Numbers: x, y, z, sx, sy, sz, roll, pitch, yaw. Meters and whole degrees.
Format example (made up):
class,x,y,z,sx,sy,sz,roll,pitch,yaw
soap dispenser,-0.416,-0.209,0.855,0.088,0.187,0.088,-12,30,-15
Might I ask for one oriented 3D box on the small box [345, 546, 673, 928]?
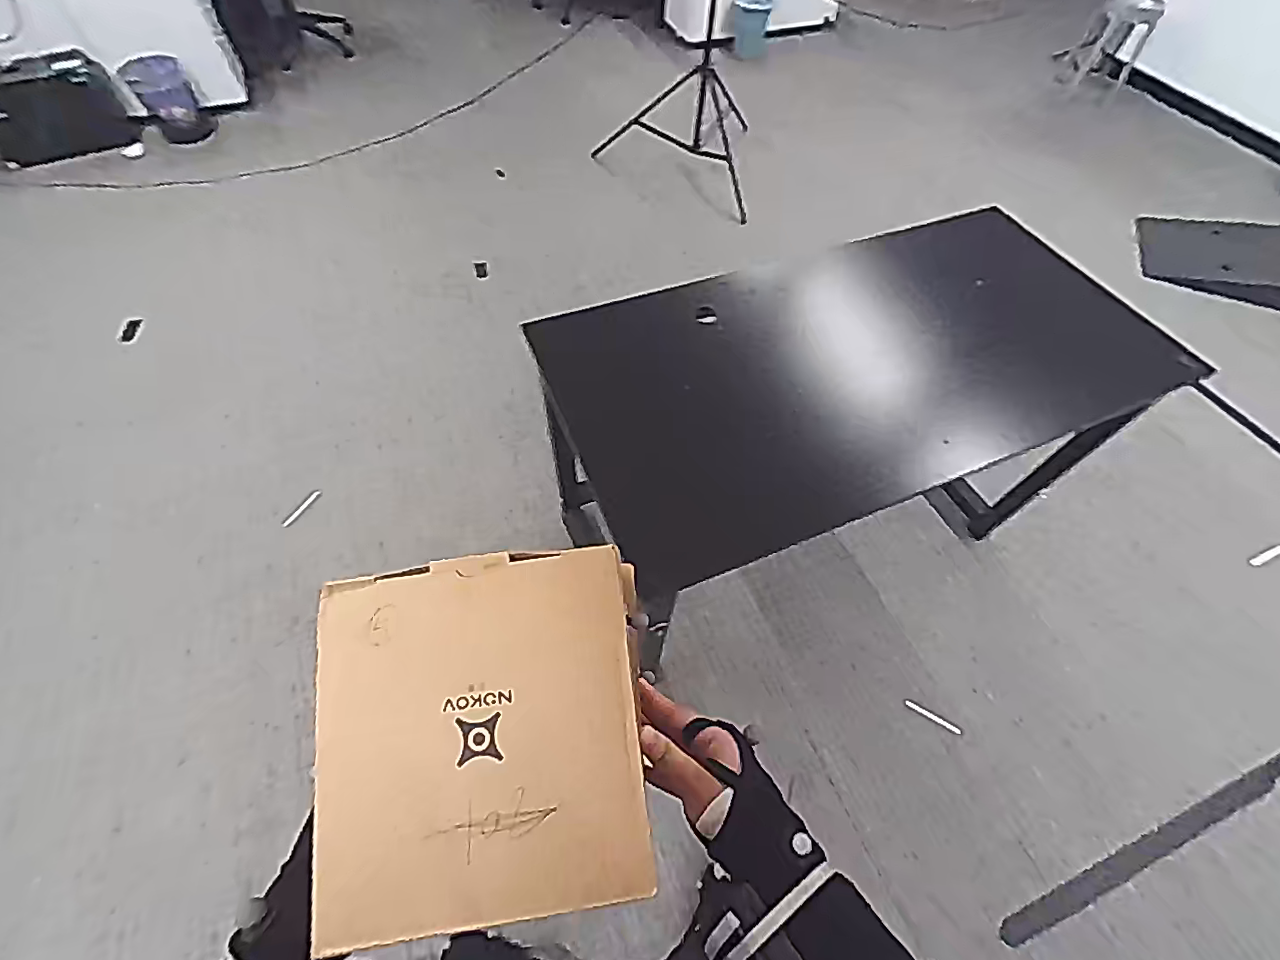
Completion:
class,x,y,z,sx,sy,sz,roll,pitch,yaw
small box,-0.075,0.150,0.368,0.168,0.176,0.179,-6,76,-3
